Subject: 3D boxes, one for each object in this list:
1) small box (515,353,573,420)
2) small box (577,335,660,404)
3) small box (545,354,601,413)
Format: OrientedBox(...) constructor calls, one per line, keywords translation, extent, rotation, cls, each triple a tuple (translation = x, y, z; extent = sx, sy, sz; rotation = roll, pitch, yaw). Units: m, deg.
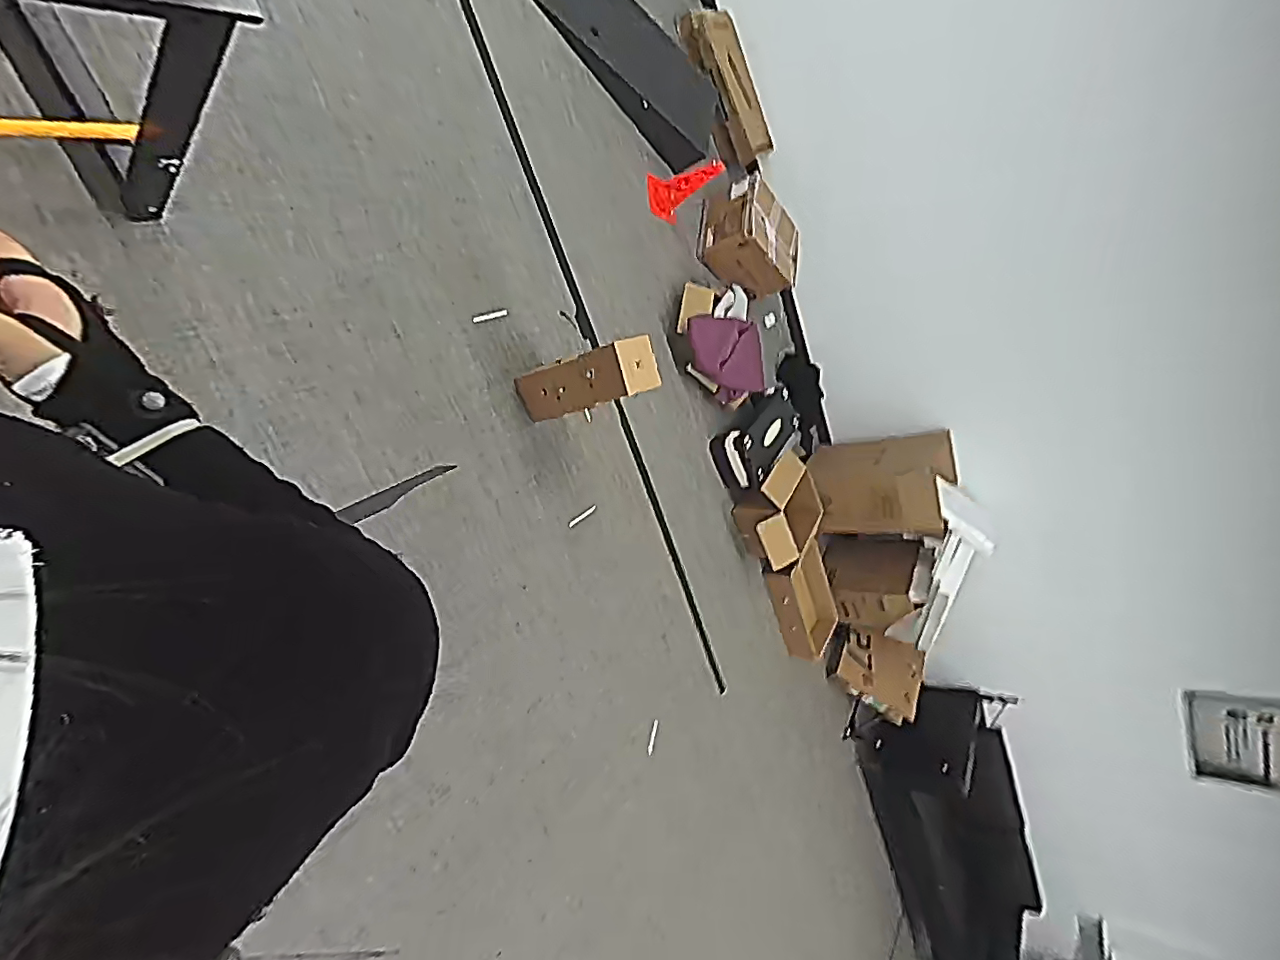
OrientedBox(translation=(-0.314, -0.330, 1.928), extent=(0.168, 0.176, 0.179), rotation=(-41, 116, -44), cls="small box")
OrientedBox(translation=(-0.069, -0.350, 1.712), extent=(0.179, 0.176, 0.168), rotation=(-28, 106, -46), cls="small box")
OrientedBox(translation=(-0.188, -0.339, 1.823), extent=(0.179, 0.176, 0.168), rotation=(-36, 112, -45), cls="small box")
